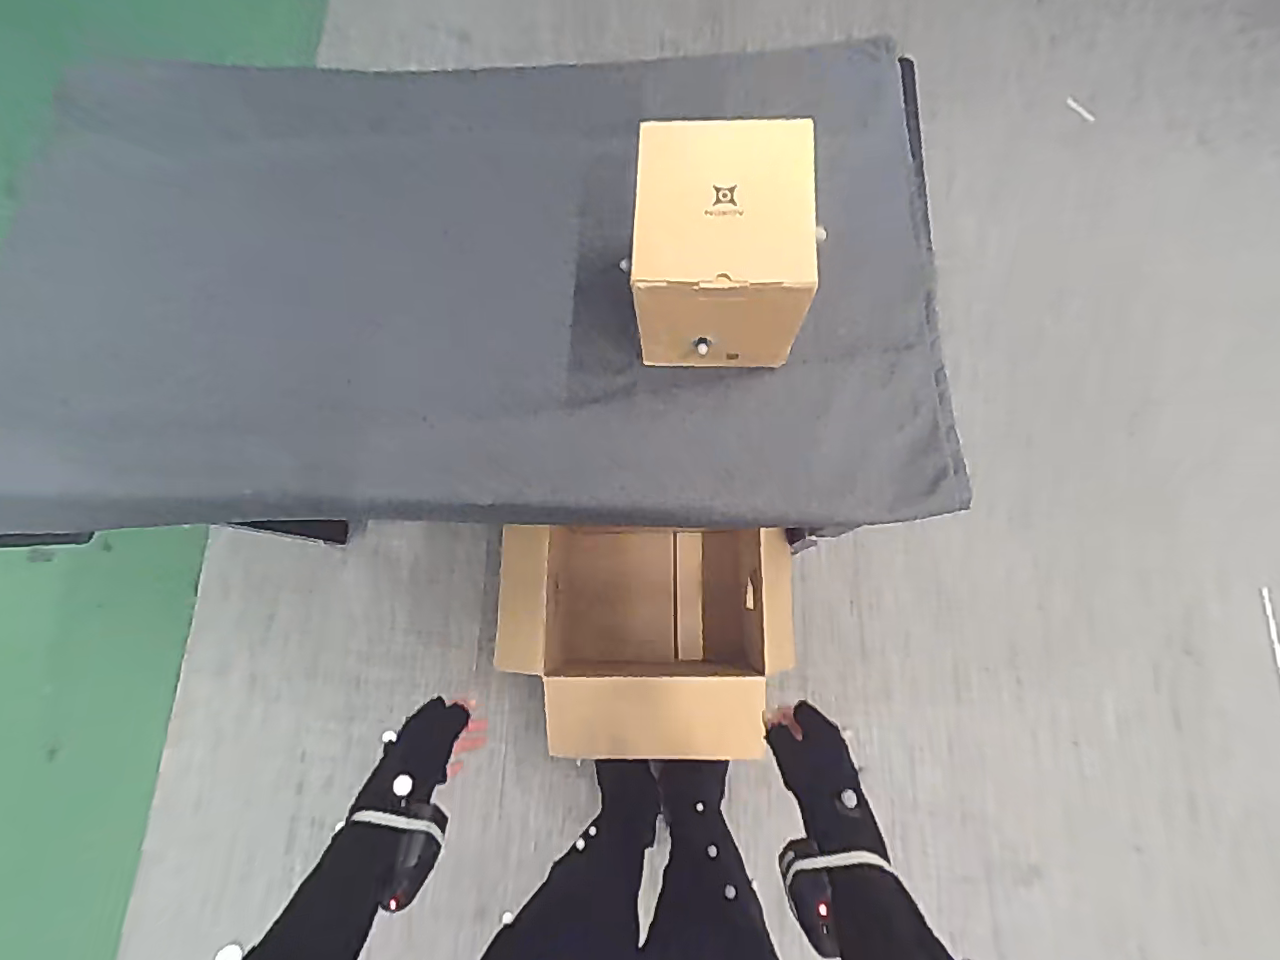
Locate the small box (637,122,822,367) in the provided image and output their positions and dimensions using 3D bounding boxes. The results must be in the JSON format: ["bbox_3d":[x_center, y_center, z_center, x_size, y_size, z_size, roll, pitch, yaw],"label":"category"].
[{"bbox_3d":[0.086,-0.238,0.573,0.168,0.176,0.179,2,78,4],"label":"small box"}]
